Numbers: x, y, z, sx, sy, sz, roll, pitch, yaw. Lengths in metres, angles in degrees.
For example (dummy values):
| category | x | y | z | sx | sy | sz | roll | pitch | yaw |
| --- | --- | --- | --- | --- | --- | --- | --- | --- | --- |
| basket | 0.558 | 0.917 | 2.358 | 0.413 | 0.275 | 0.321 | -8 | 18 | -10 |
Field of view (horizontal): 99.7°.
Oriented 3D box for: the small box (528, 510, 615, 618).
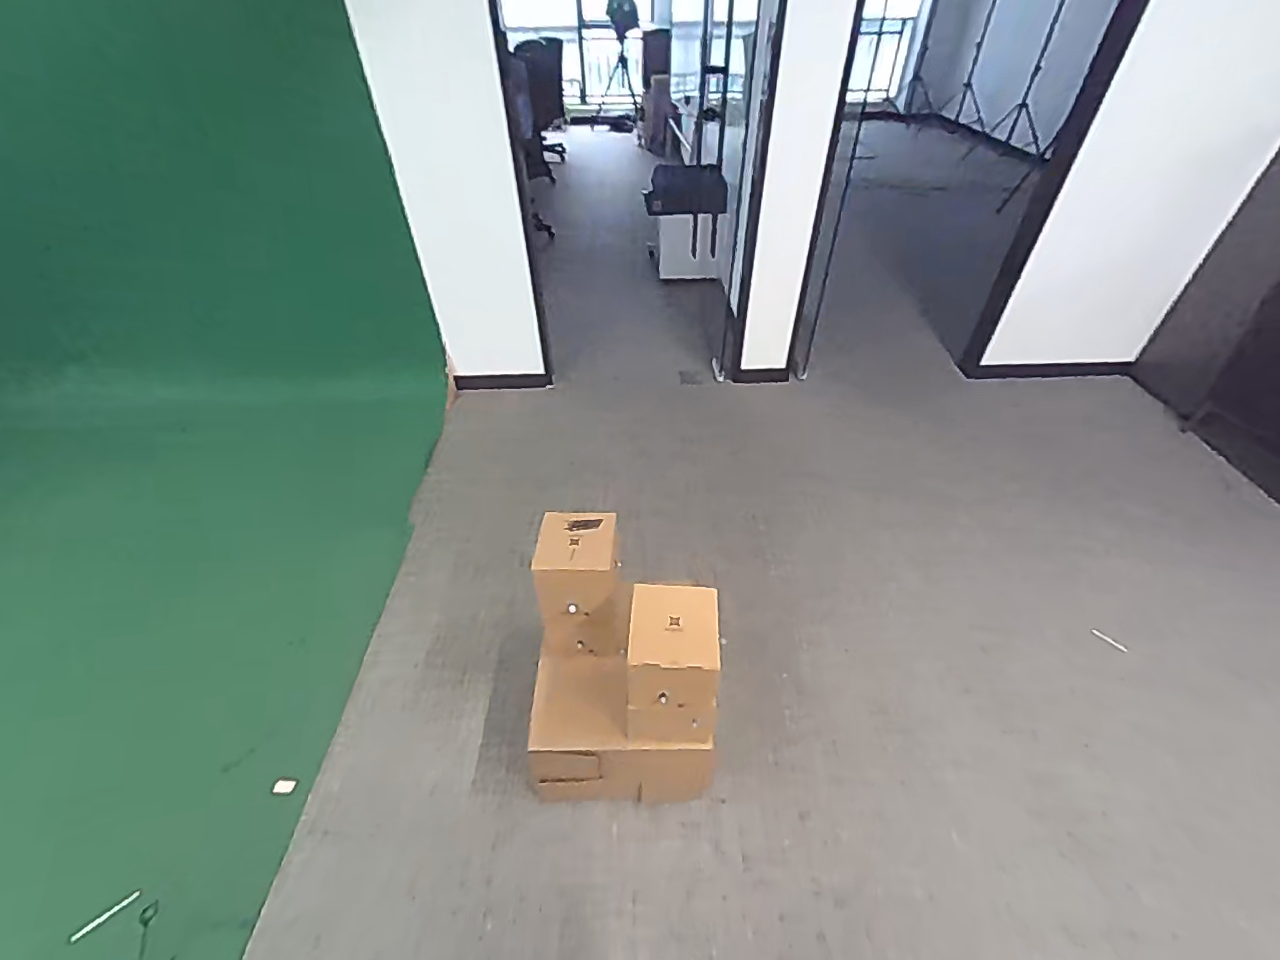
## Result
| category | x | y | z | sx | sy | sz | roll | pitch | yaw |
| --- | --- | --- | --- | --- | --- | --- | --- | --- | --- |
| small box | -0.145 | 0.187 | 1.218 | 0.168 | 0.176 | 0.179 | 0 | 40 | 2 |

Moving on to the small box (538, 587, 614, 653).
| category | x | y | z | sx | sy | sz | roll | pitch | yaw |
| --- | --- | --- | --- | --- | --- | --- | --- | --- | --- |
| small box | -0.151 | 0.305 | 1.334 | 0.168 | 0.176 | 0.179 | -1 | 39 | 0 |

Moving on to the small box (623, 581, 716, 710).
| category | x | y | z | sx | sy | sz | roll | pitch | yaw |
| --- | --- | --- | --- | --- | --- | --- | --- | --- | --- |
| small box | 0.055 | 0.323 | 1.061 | 0.168 | 0.176 | 0.179 | 3 | 42 | 2 |
